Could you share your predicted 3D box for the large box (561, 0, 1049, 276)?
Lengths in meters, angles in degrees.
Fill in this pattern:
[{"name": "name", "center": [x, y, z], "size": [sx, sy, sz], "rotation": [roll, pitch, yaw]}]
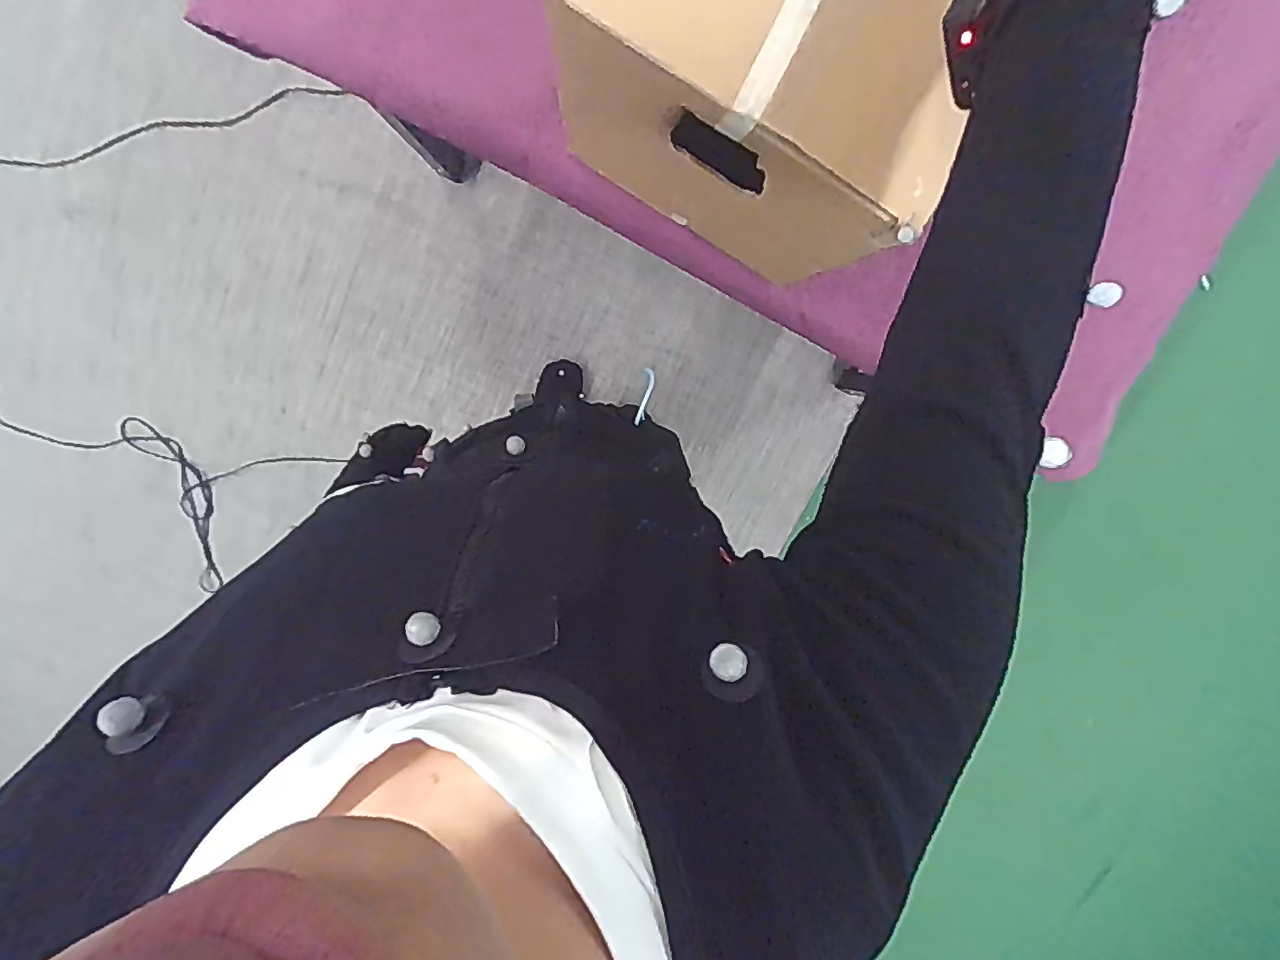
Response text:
[{"name": "large box", "center": [0.158, -0.465, 0.504], "size": [0.320, 0.320, 0.408], "rotation": [28, 101, -10]}]
